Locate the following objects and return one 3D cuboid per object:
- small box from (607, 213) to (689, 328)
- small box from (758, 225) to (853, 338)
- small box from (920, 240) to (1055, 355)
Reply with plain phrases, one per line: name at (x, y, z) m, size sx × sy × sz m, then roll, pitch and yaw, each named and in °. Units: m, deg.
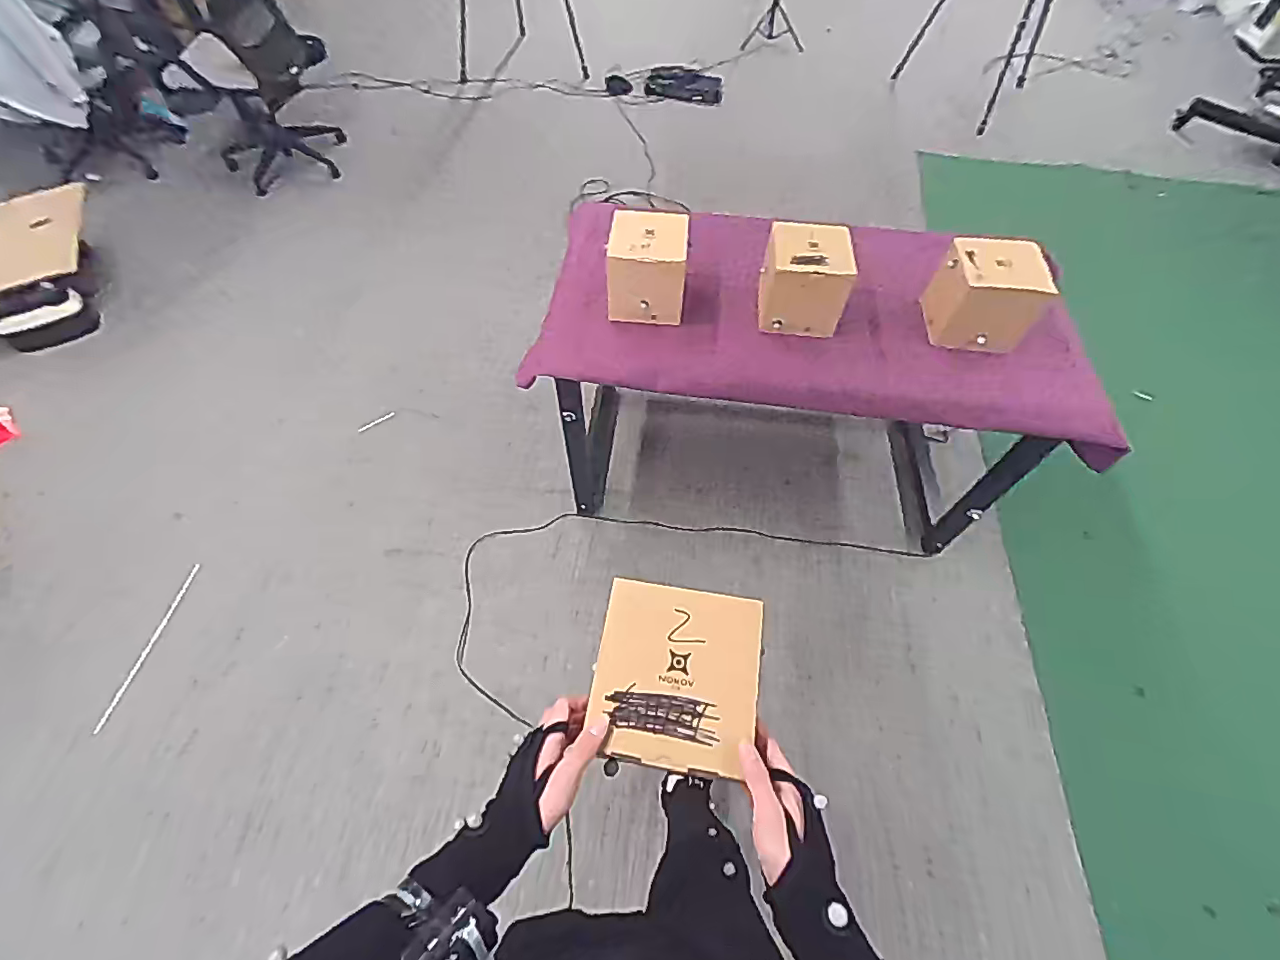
small box at (0.017, -0.472, 1.223) m, size 0.168 × 0.176 × 0.179 m, roll 5°, pitch 57°, yaw 2°
small box at (0.362, -0.440, 1.210) m, size 0.168 × 0.176 × 0.179 m, roll 6°, pitch 56°, yaw 2°
small box at (0.750, -0.397, 1.188) m, size 0.179 × 0.176 × 0.168 m, roll 7°, pitch 57°, yaw 4°
